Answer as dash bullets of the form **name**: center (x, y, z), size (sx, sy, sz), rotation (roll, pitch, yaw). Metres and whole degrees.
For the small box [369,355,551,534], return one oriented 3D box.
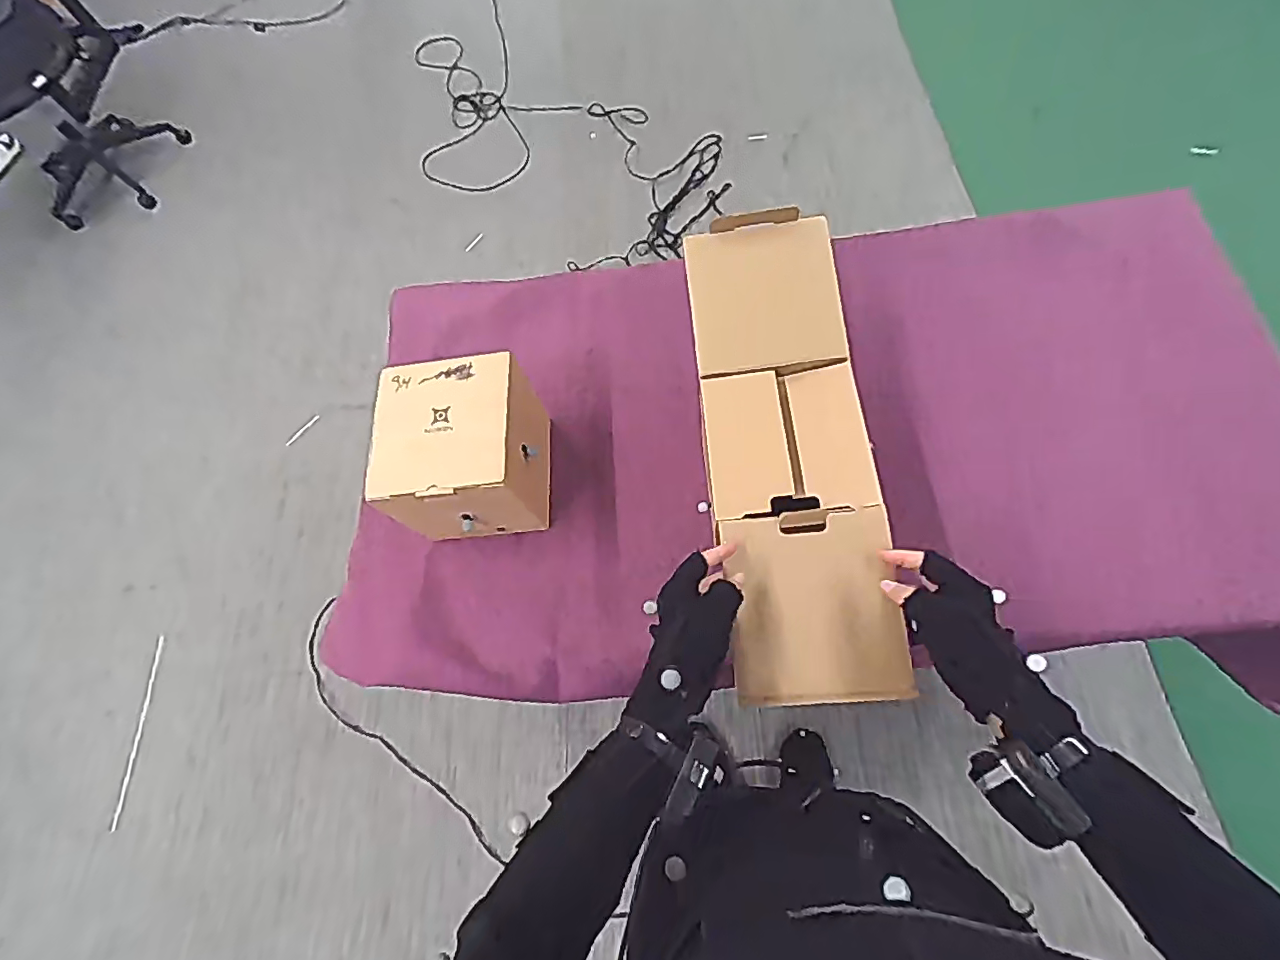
- **small box**: center (-0.216, -0.033, 0.698), size (0.168, 0.176, 0.179), rotation (-6, 68, 6)

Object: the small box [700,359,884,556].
- **small box**: center (0.163, -0.014, 0.632), size (0.168, 0.176, 0.179), rotation (-6, 67, 6)
